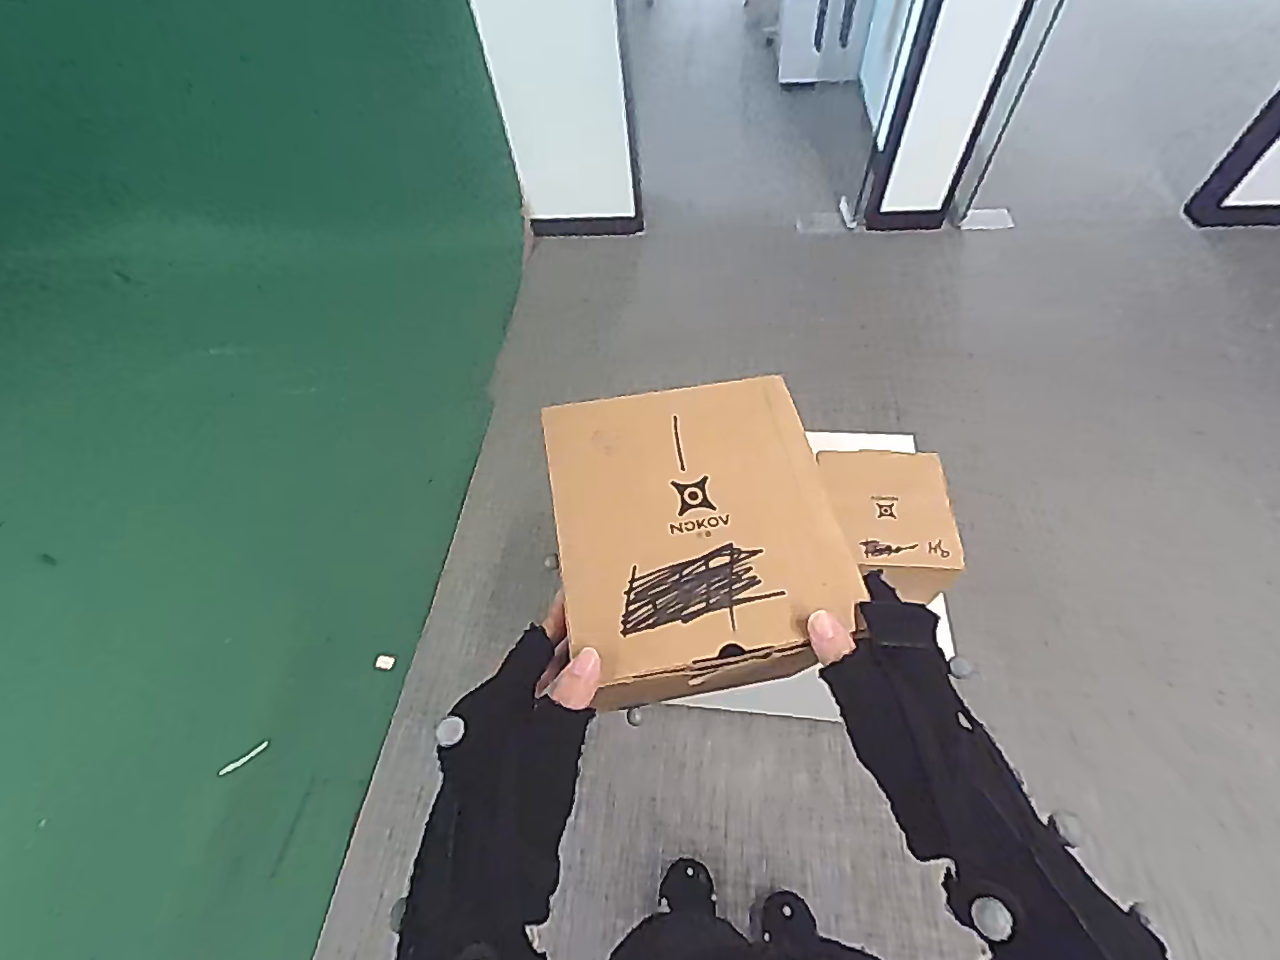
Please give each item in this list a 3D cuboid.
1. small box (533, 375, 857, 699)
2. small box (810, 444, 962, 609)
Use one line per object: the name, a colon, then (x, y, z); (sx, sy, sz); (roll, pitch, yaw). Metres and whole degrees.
small box: (0.023, 0.052, 0.392); (0.168, 0.176, 0.179); (-9, 62, -6)
small box: (0.330, 0.069, 0.783); (0.168, 0.176, 0.179); (2, 58, 8)
